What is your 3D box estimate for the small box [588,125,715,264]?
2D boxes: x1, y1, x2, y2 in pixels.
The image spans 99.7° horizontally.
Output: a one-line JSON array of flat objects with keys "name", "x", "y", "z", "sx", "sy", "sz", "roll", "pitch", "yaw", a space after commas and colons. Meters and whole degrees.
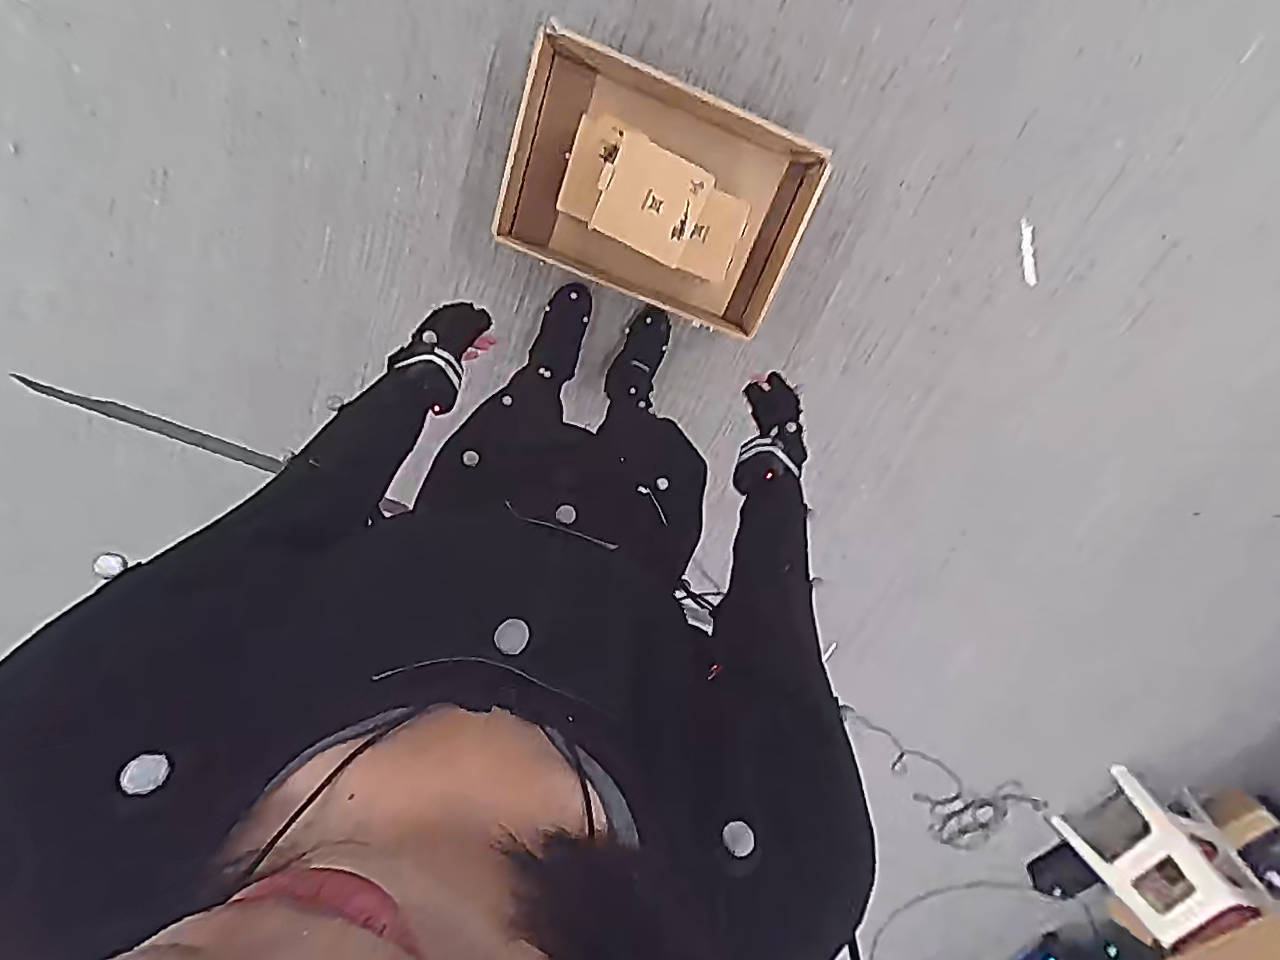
[{"name": "small box", "x": 0.016, "y": -0.524, "z": 1.016, "sx": 0.179, "sy": 0.176, "sz": 0.168, "roll": 23, "pitch": 112, "yaw": -11}]

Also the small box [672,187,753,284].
[{"name": "small box", "x": 0.123, "y": -0.549, "z": 1.186, "sx": 0.179, "sy": 0.176, "sz": 0.168, "roll": 20, "pitch": 113, "yaw": -8}]
